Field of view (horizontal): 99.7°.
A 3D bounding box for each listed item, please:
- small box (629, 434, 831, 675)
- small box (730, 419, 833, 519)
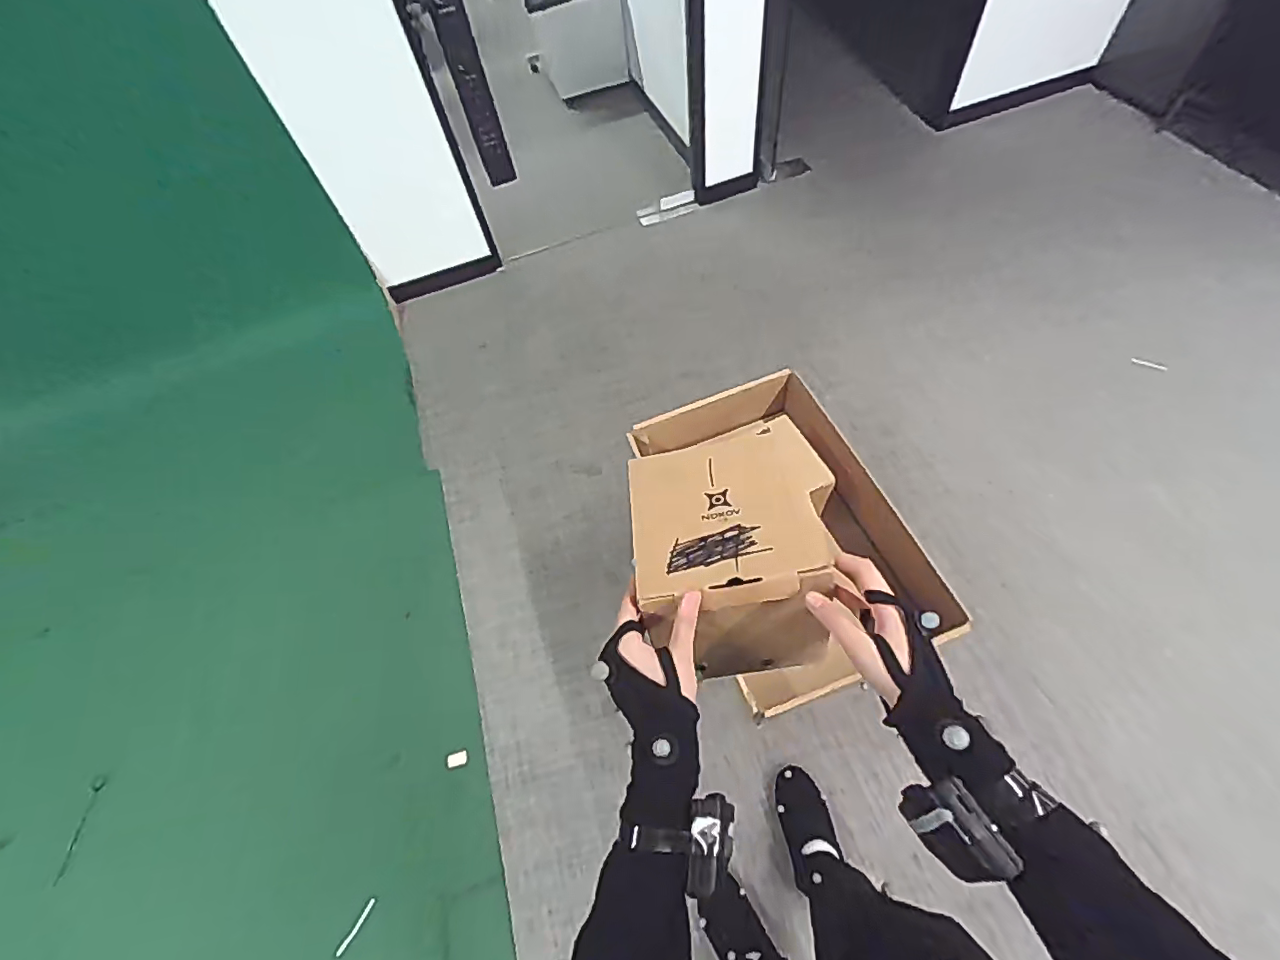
[{"bbox_3d":[0.088,0.083,0.554,0.168,0.176,0.179,-10,44,6],"label":"small box"},{"bbox_3d":[0.263,0.013,1.106,0.168,0.176,0.179,-23,62,-8],"label":"small box"}]
